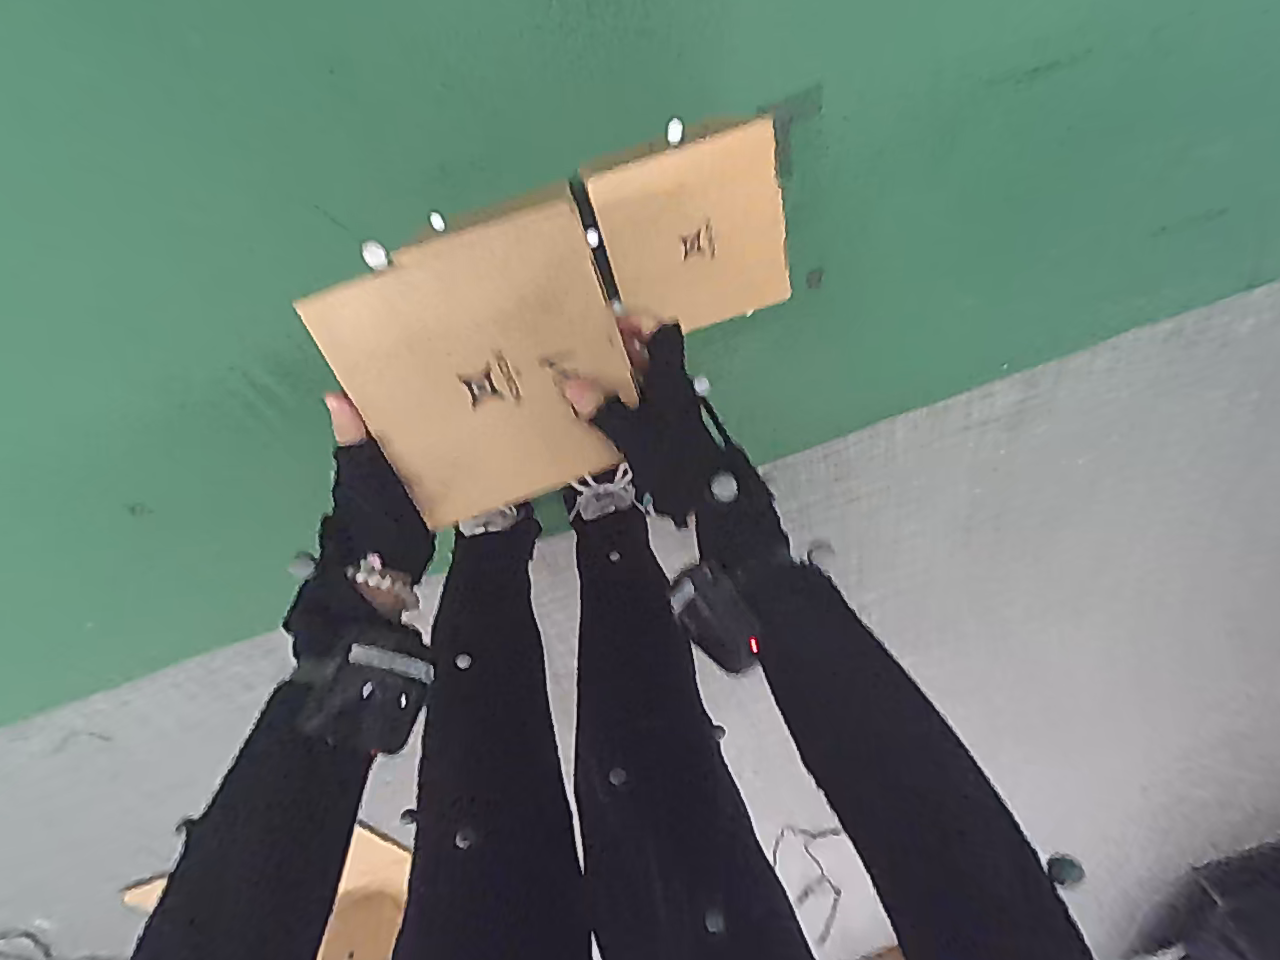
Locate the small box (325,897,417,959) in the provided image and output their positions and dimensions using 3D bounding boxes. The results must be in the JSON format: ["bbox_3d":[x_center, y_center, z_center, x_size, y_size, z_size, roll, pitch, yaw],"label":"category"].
[{"bbox_3d":[-0.727,1.267,1.463,0.179,0.176,0.168,-23,125,6],"label":"small box"}]

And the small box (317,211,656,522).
[{"bbox_3d":[-0.103,-0.097,0.431,0.179,0.176,0.168,-20,116,0],"label":"small box"}]
